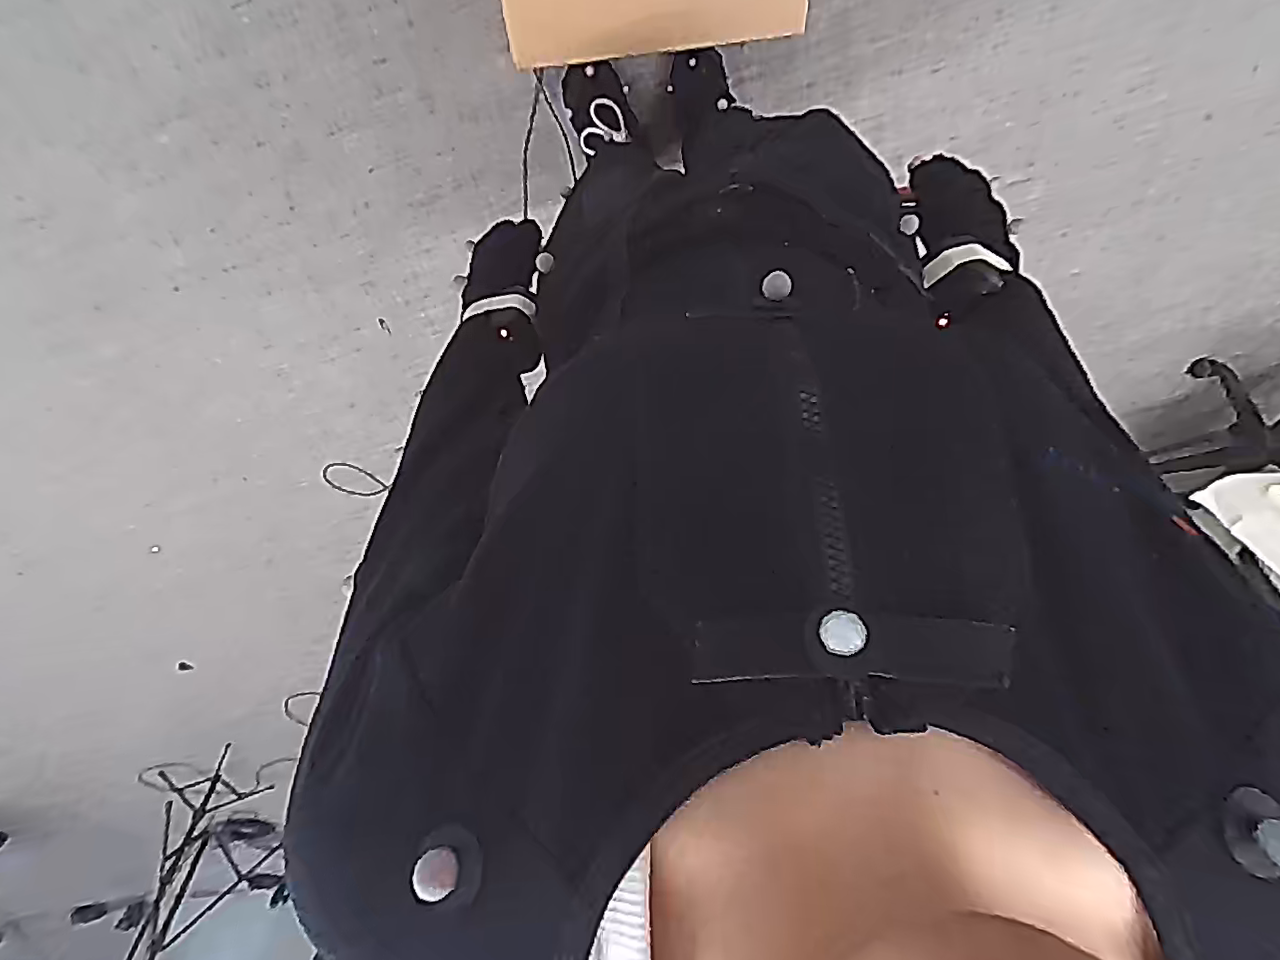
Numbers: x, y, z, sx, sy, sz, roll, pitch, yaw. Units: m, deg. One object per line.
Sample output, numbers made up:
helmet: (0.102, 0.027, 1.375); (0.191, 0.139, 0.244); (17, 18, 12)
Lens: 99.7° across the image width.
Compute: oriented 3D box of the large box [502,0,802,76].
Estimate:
large box: (-0.003, -0.803, 0.760); (0.408, 0.320, 0.320); (-8, 131, 0)
